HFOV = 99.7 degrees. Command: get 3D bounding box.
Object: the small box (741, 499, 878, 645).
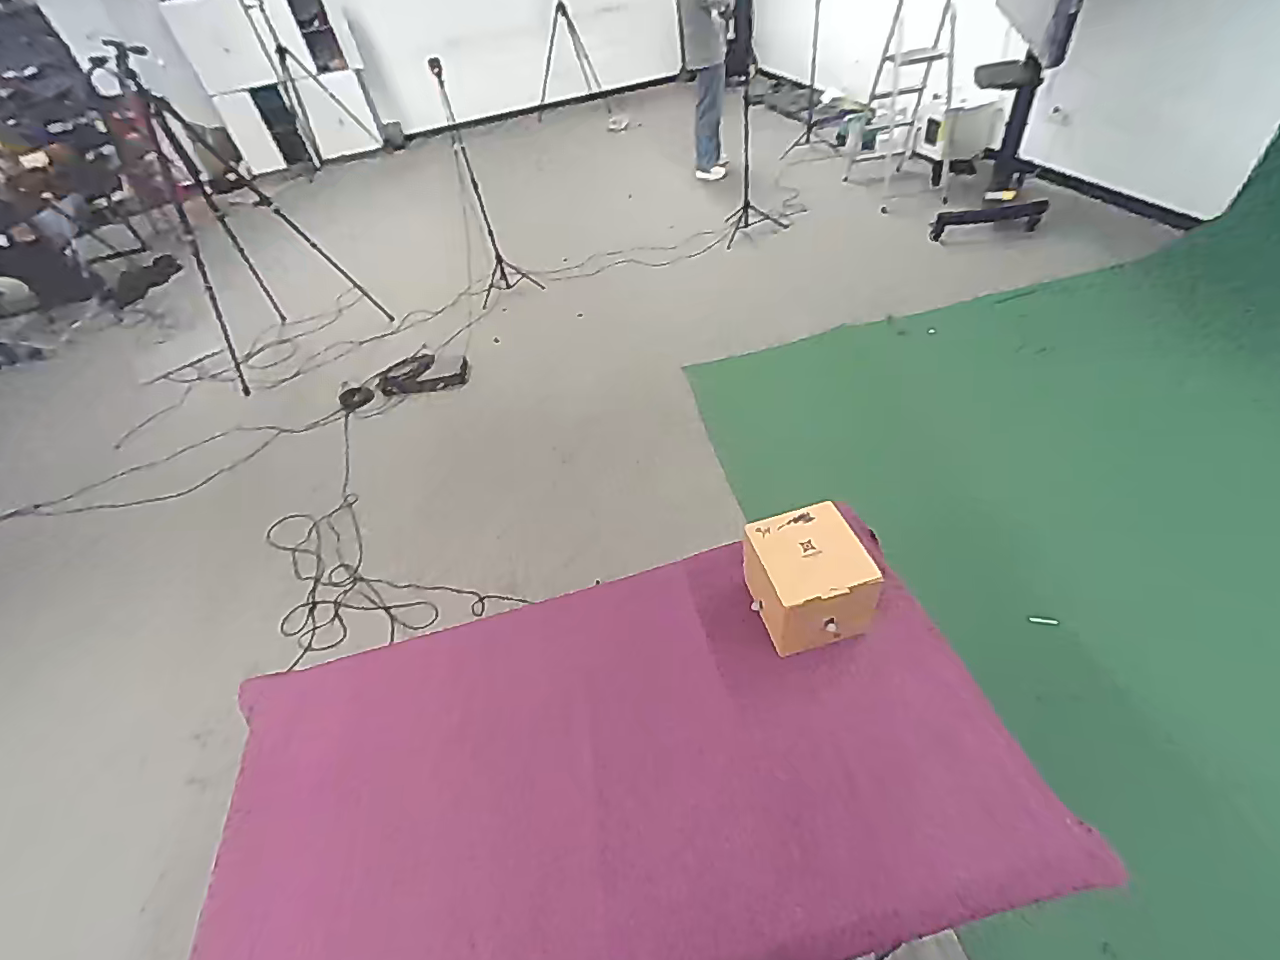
[{"bbox_3d":[0.286,0.167,0.945,0.168,0.176,0.179,-16,46,-3],"label":"small box"}]
